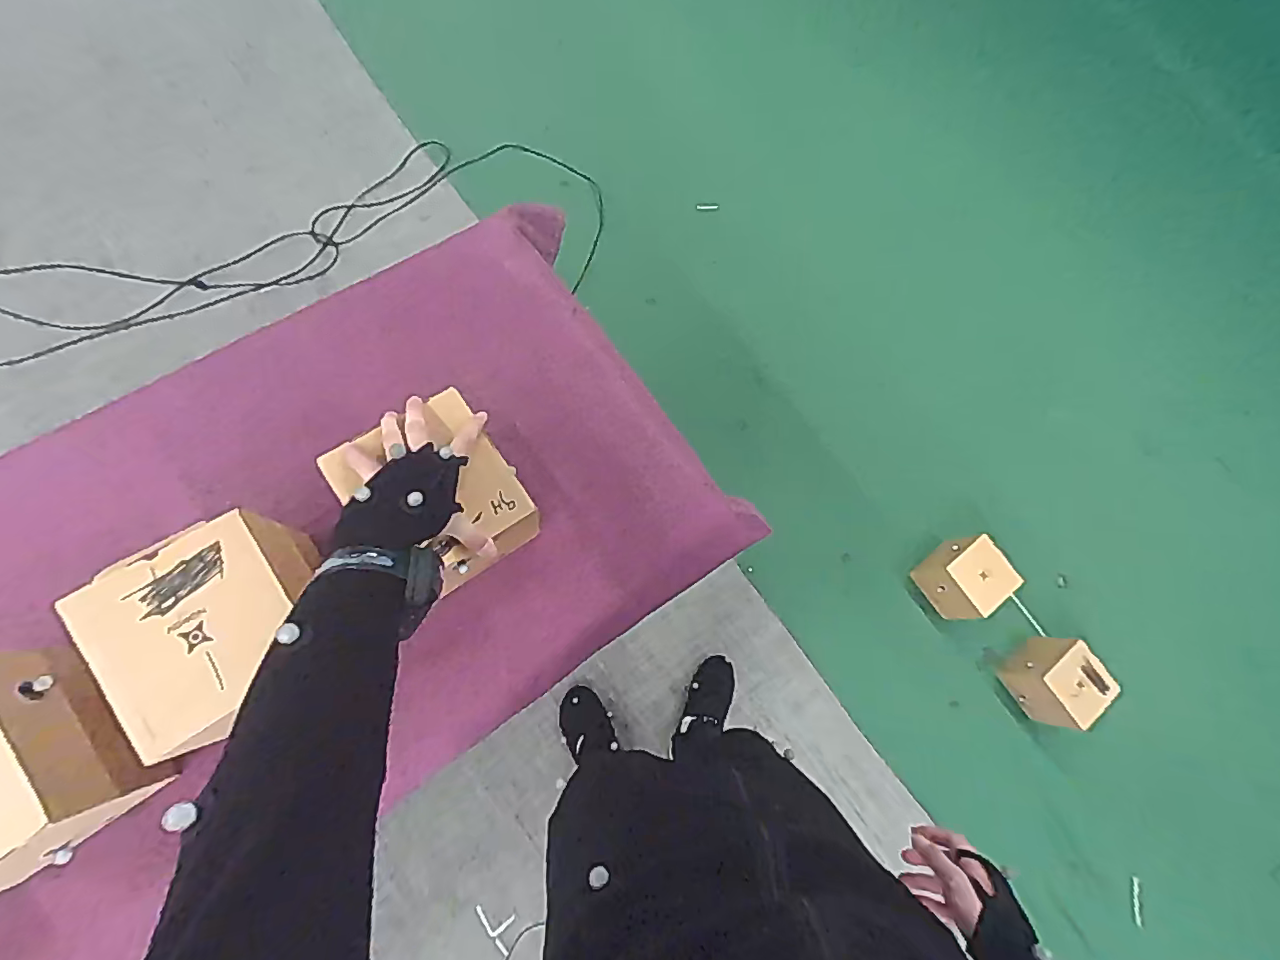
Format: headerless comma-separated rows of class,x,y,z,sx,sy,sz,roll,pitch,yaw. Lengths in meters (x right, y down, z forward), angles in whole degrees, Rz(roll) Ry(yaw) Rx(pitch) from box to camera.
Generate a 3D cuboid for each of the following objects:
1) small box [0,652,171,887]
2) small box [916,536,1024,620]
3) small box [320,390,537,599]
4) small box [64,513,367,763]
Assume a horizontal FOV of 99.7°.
small box,-0.622,0.286,0.520,0.168,0.176,0.179,-34,83,-16
small box,0.928,0.287,1.544,0.179,0.176,0.168,-33,82,-17
small box,-0.240,0.029,0.656,0.168,0.176,0.179,-33,82,-16
small box,-0.433,0.163,0.586,0.168,0.176,0.179,-32,83,-16
